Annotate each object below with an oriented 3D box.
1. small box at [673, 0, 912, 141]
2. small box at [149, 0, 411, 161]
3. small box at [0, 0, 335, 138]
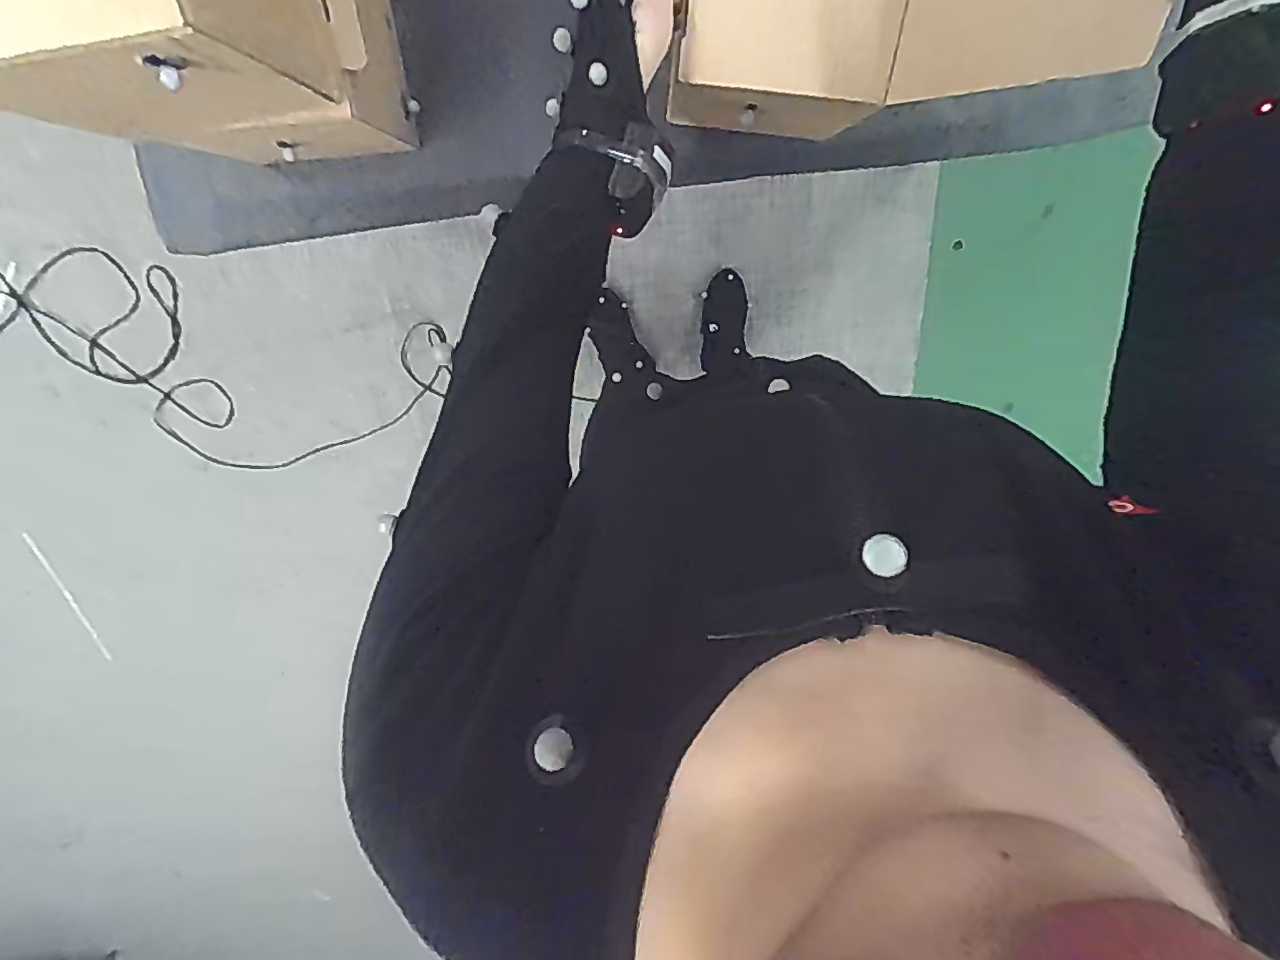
[{"bbox_3d":[0.125,-0.414,0.478,0.179,0.176,0.168,6,115,-1],"label":"small box"},{"bbox_3d":[-0.321,-0.388,0.473,0.179,0.176,0.168,-5,114,0],"label":"small box"},{"bbox_3d":[-0.329,-0.324,0.323,0.179,0.176,0.168,-9,114,1],"label":"small box"}]
